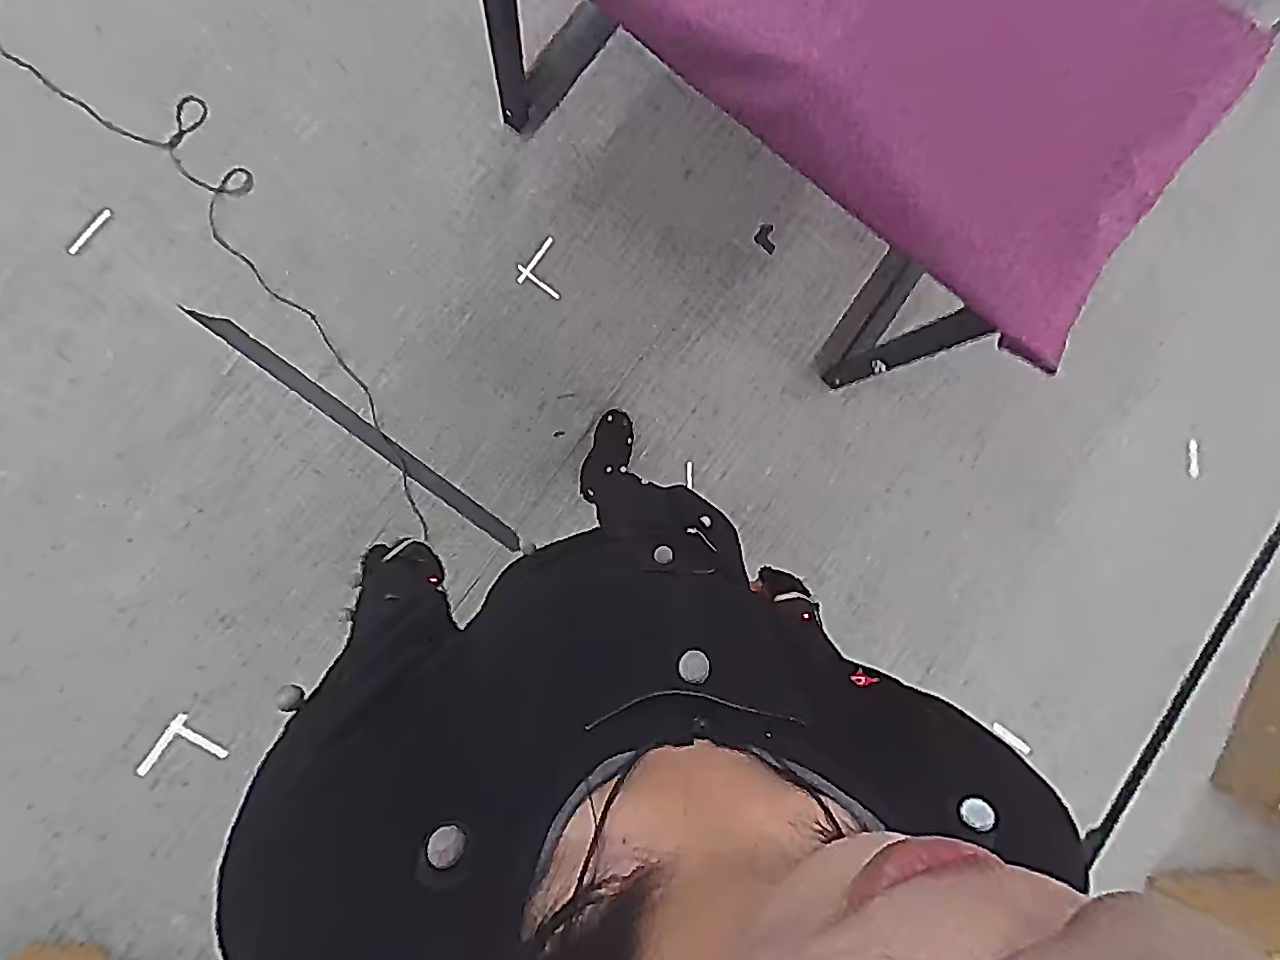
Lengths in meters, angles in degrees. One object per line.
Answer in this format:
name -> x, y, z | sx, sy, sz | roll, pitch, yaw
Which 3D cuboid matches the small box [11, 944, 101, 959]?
small box -> -1.396, 1.205, 1.226 | 0.179, 0.176, 0.168 | 12, 87, -6
